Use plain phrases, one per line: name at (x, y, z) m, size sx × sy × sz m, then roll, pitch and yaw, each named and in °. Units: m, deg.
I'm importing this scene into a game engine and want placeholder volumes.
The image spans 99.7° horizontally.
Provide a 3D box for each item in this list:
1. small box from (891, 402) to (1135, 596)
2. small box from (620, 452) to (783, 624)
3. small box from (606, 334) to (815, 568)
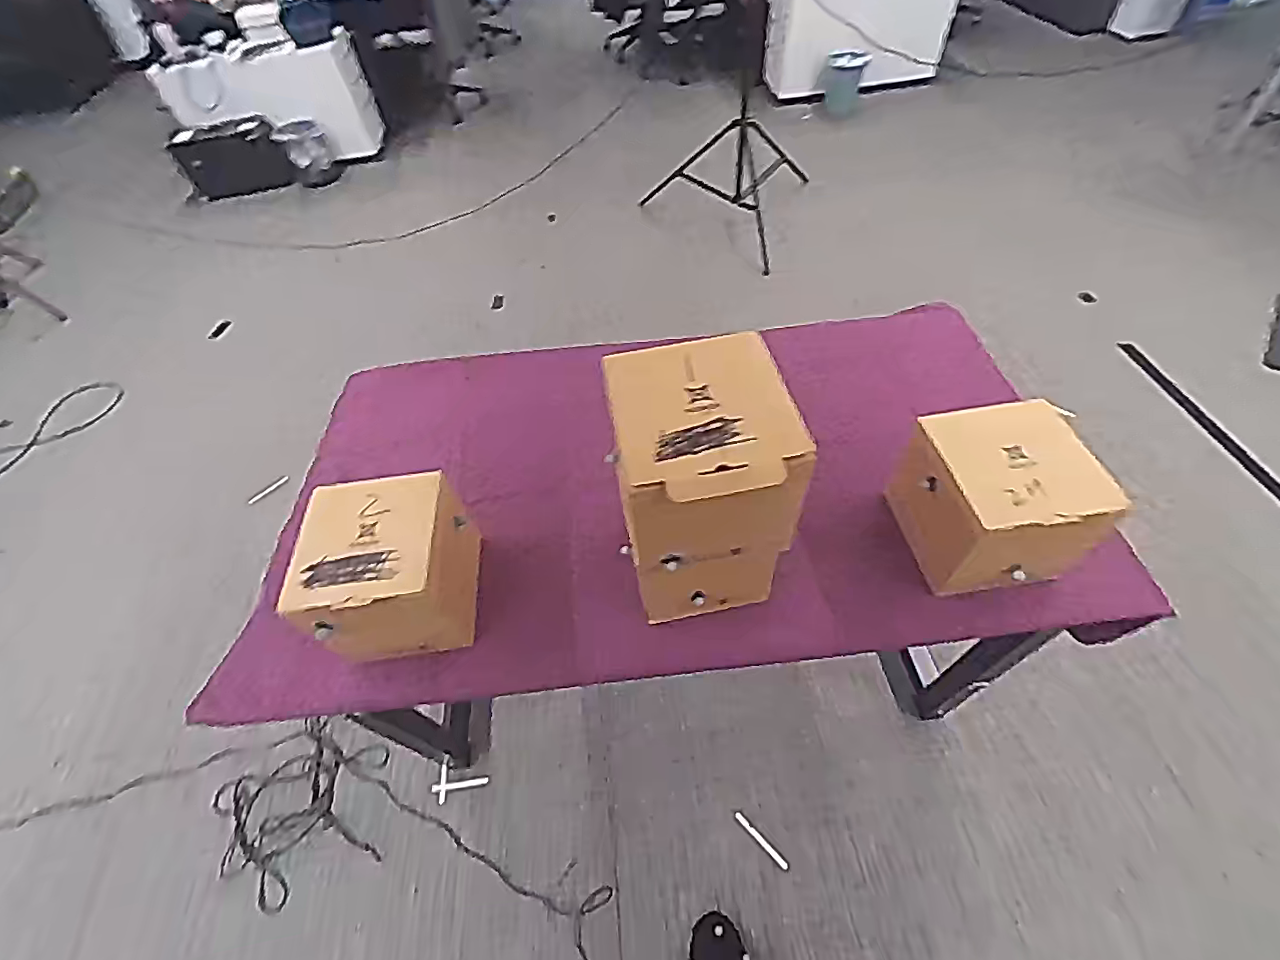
small box at (0.452, 0.027, 0.697) m, size 0.168 × 0.176 × 0.179 m, roll -9°, pitch 53°, yaw 0°
small box at (0.071, 0.064, 0.710) m, size 0.168 × 0.176 × 0.179 m, roll -11°, pitch 54°, yaw -3°
small box at (0.065, -0.022, 0.569) m, size 0.168 × 0.176 × 0.179 m, roll -10°, pitch 53°, yaw -3°
